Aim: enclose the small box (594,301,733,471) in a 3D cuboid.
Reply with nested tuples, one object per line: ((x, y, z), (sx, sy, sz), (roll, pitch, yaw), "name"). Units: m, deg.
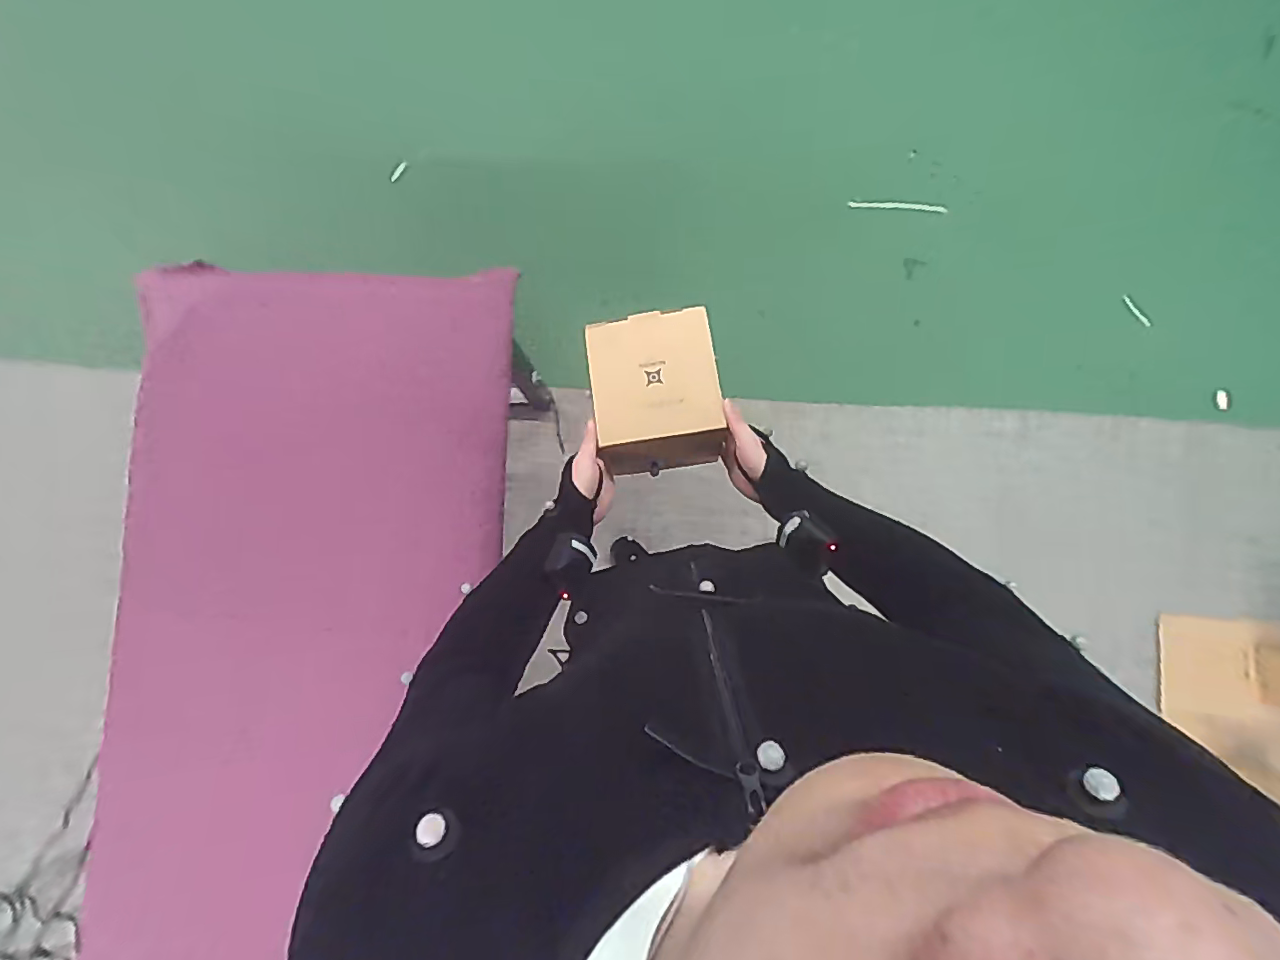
((0.031, -0.124, 0.766), (0.168, 0.176, 0.179), (-7, 77, 3), "small box")

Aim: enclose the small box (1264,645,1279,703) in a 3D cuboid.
((1.915, 0.553, 1.497), (0.179, 0.176, 0.168), (-4, 85, -1), "small box")
